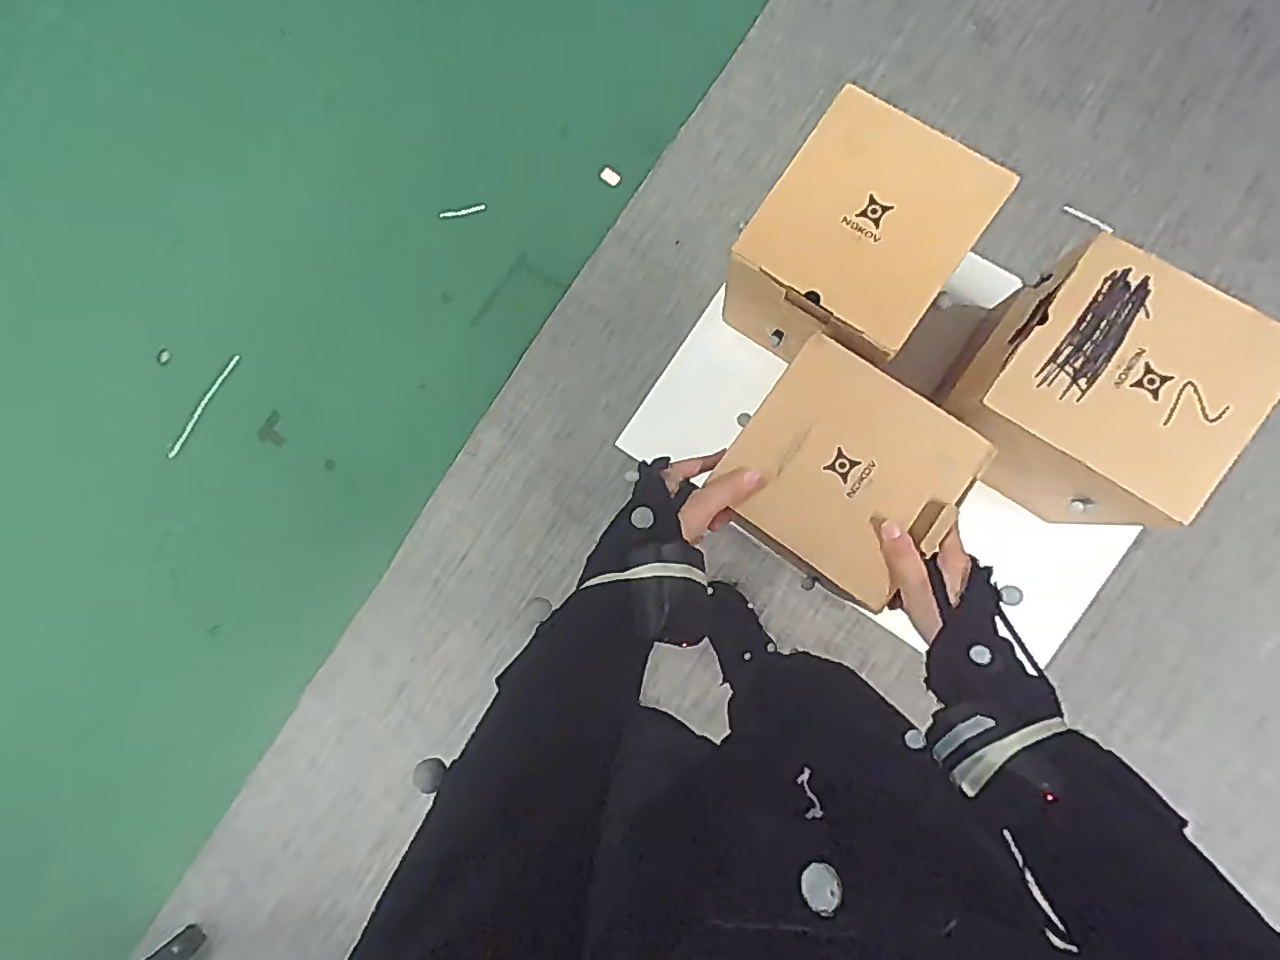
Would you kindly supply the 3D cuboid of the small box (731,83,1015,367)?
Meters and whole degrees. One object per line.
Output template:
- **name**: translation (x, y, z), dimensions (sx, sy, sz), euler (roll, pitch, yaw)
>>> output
- **small box**: translation (0.201, -0.217, 0.529), dimensions (0.168, 0.176, 0.179), euler (35, 92, 7)

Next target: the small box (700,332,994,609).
- **small box**: translation (0.175, -0.004, 0.517), dimensions (0.179, 0.176, 0.168), euler (36, 89, 10)
